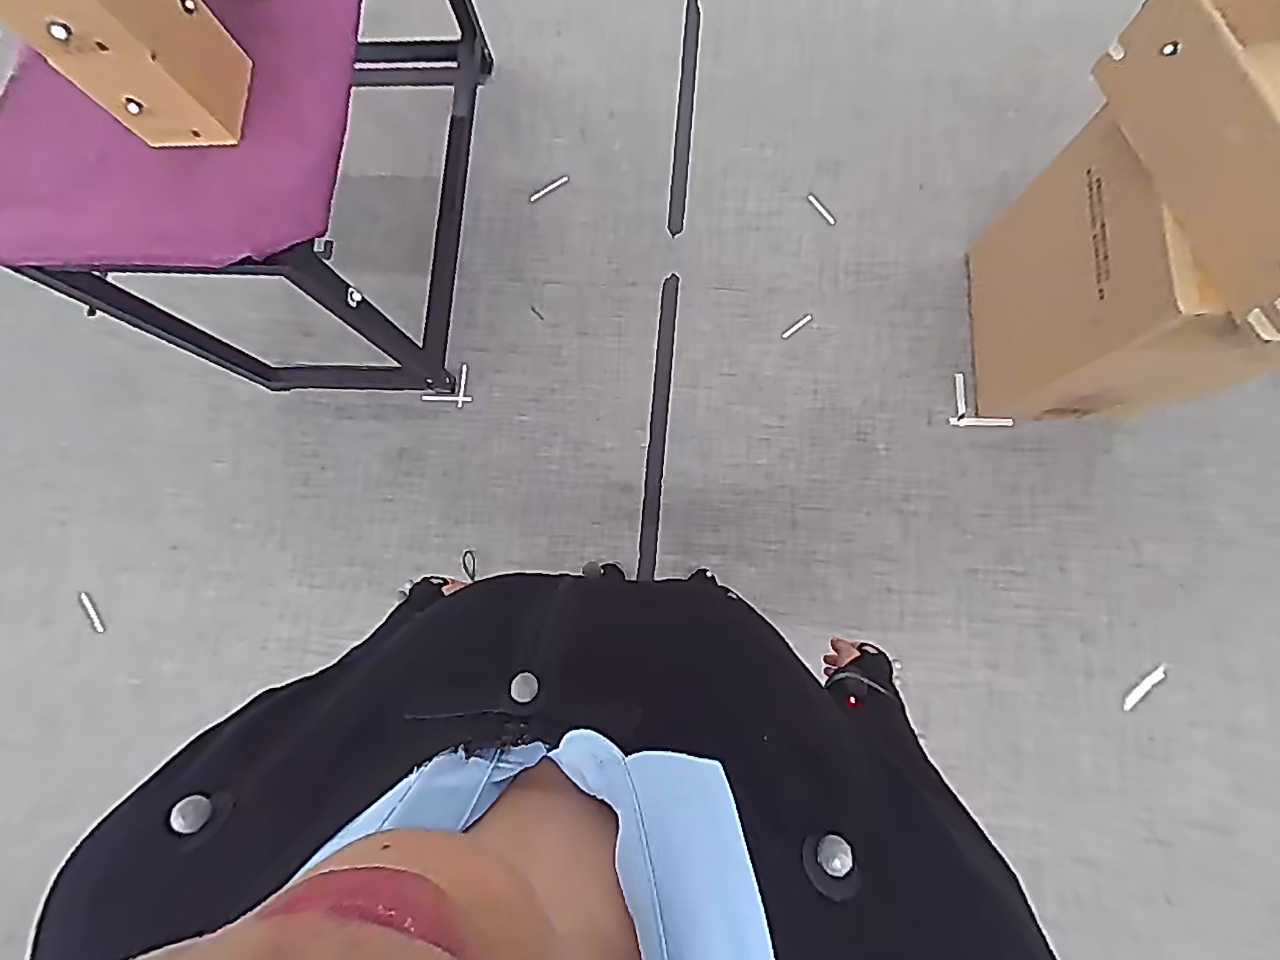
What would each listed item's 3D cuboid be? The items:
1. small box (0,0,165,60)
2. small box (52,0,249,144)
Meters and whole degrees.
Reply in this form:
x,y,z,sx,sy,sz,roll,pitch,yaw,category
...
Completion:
x,y,z,sx,sy,sz,roll,pitch,yaw,category
-0.795,-0.720,0.733,0.168,0.176,0.179,0,80,3,small box
-0.791,-0.689,0.895,0.168,0.176,0.179,0,80,3,small box
